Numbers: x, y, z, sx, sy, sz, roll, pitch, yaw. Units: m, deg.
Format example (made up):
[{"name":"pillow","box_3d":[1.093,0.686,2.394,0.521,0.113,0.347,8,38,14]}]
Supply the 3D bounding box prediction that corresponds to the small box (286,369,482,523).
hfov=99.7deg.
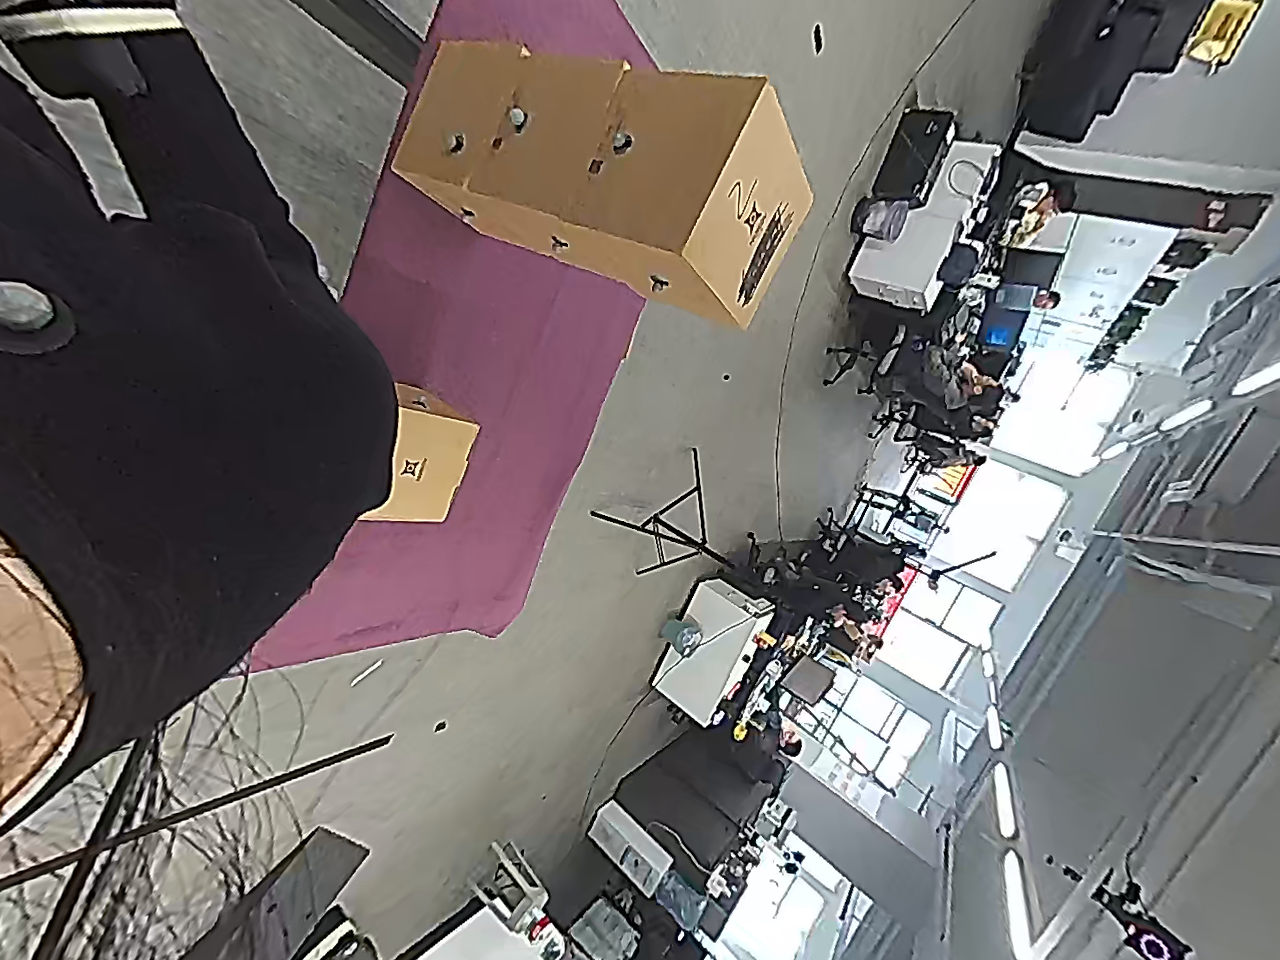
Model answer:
[{"name":"small box","box_3d":[-0.375,-0.048,0.795,0.179,0.176,0.168,10,106,-57]}]

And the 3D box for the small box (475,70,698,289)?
[{"name":"small box","box_3d":[-0.063,-0.366,0.663,0.179,0.176,0.168,15,103,-58]}]

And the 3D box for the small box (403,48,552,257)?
[{"name":"small box","box_3d":[-0.190,-0.440,0.737,0.168,0.176,0.179,16,101,-60]}]
